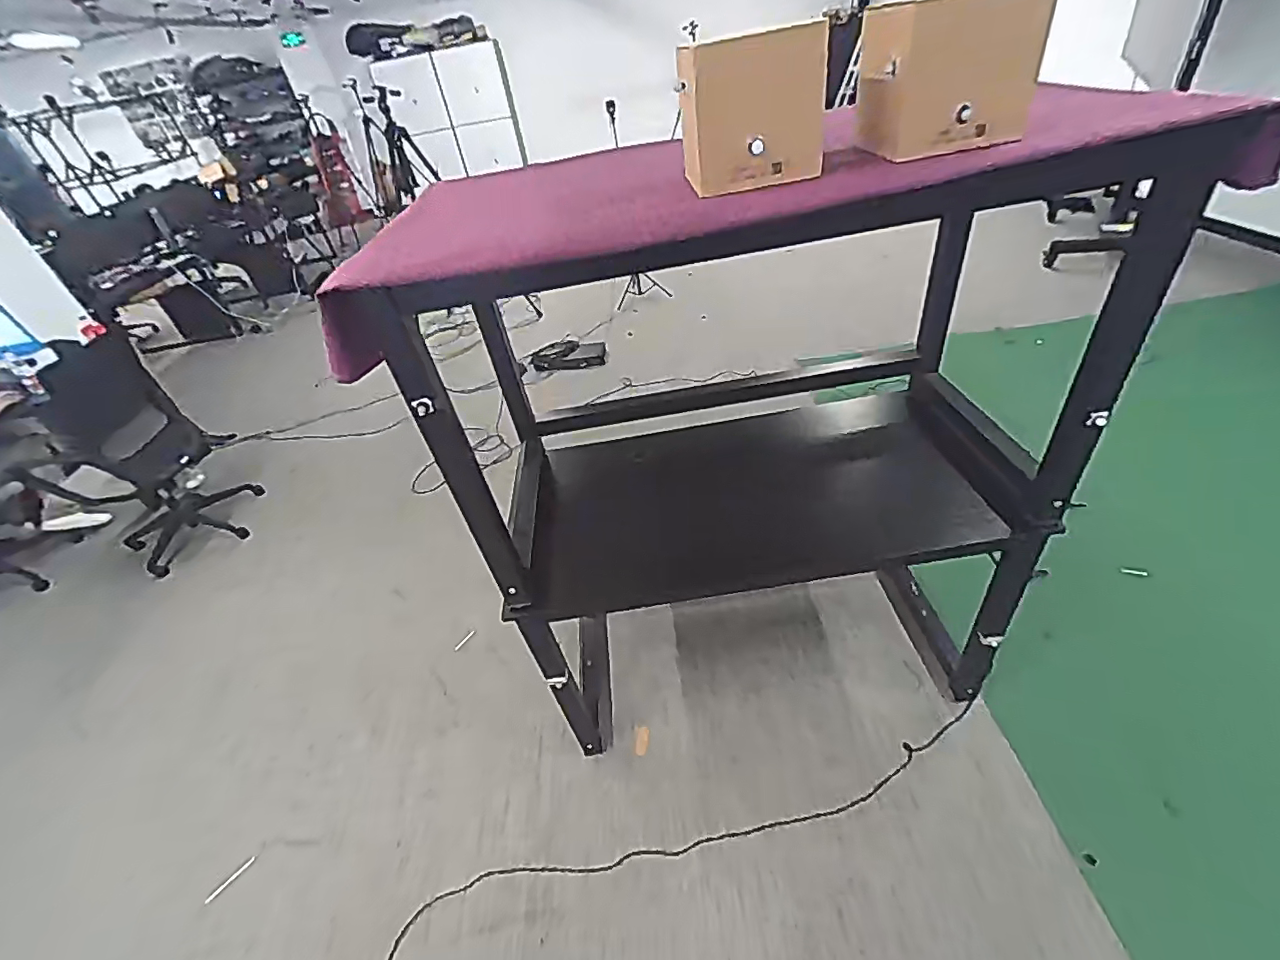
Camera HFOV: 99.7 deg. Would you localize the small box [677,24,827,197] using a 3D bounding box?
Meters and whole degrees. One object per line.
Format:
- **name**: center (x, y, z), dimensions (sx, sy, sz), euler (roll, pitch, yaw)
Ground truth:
- **small box**: center (0.146, -0.506, 0.750), dimensions (0.168, 0.176, 0.179), euler (-9, 38, 3)
